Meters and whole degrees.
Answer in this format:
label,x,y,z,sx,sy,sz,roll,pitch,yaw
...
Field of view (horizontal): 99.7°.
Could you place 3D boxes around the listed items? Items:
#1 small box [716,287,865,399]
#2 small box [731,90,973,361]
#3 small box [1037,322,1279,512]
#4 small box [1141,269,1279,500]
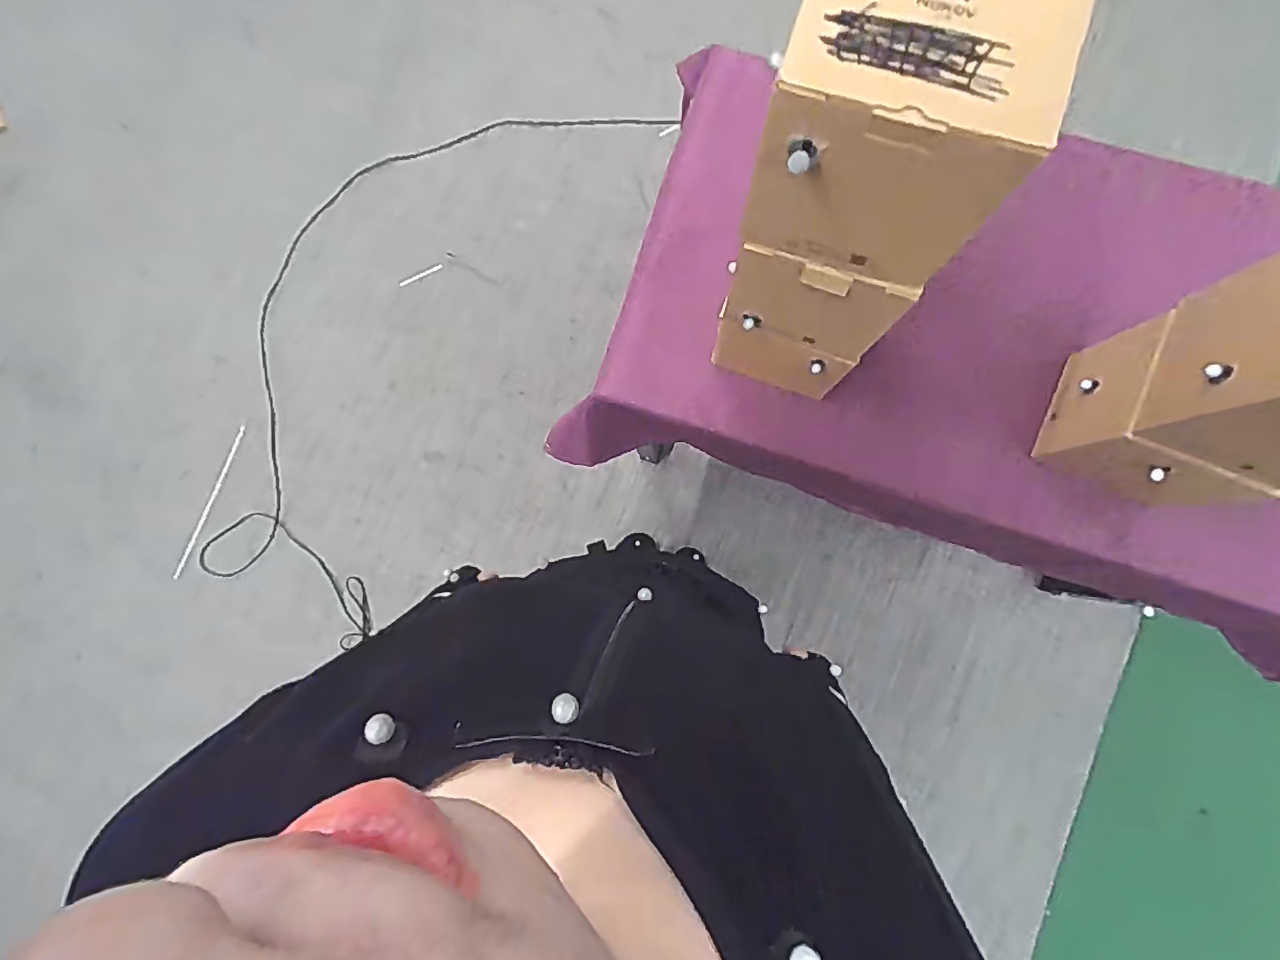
label,x,y,z,sx,sy,sz,roll,pitch,yaw
small box,0.212,-0.226,0.733,0.179,0.176,0.168,21,85,5
small box,0.203,-0.249,0.571,0.168,0.176,0.179,20,84,5
small box,0.660,-0.065,0.684,0.179,0.176,0.168,25,86,6
small box,0.653,-0.092,0.523,0.168,0.176,0.179,25,85,6
